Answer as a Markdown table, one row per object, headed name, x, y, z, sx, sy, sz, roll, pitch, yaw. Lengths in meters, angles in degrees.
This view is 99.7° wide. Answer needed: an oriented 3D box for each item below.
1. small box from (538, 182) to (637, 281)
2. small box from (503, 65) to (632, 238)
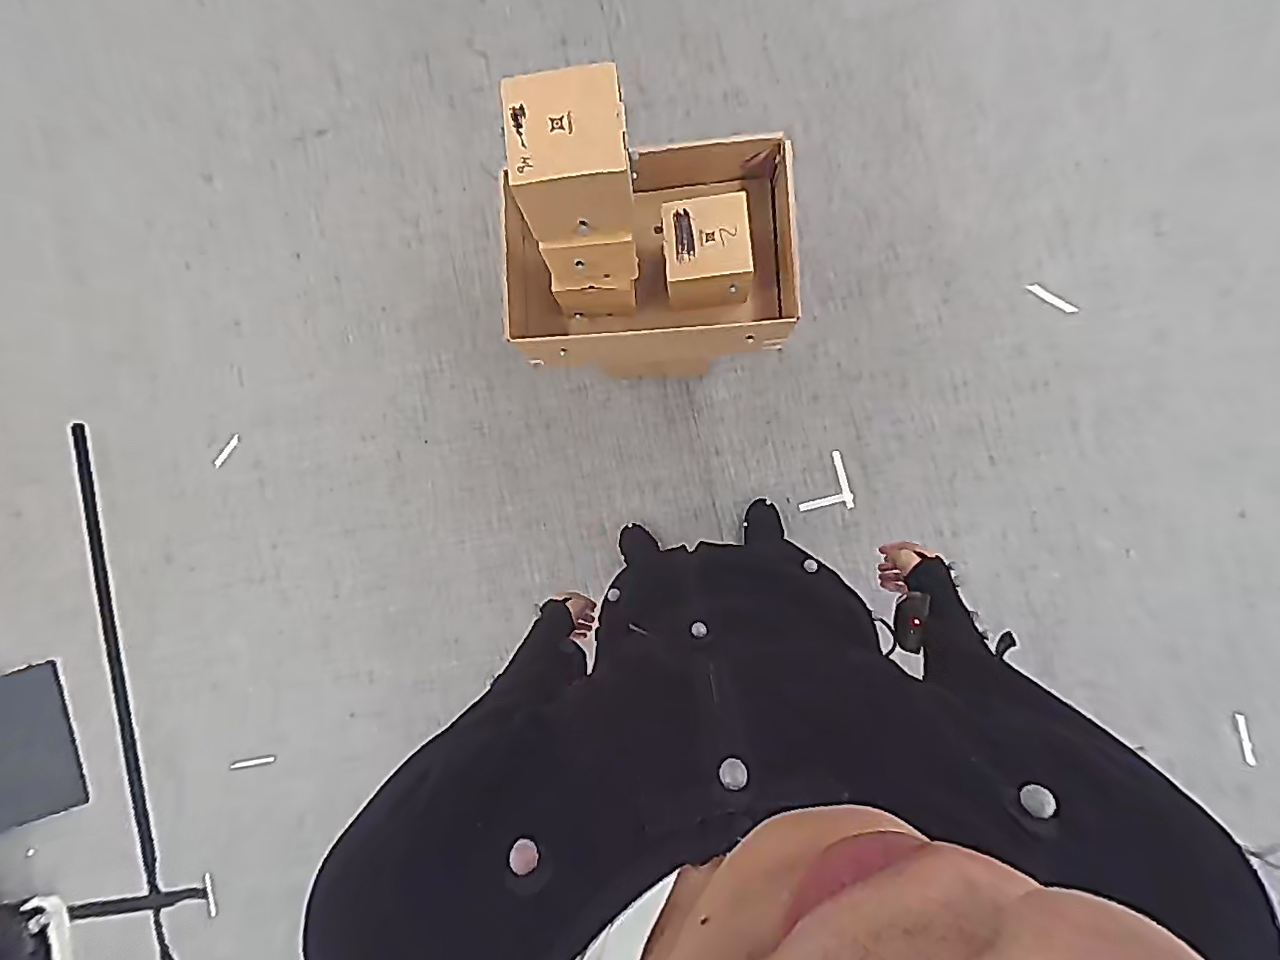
| name | x | y | z | sx | sy | sz | roll | pitch | yaw |
| --- | --- | --- | --- | --- | --- | --- | --- | --- | --- |
| small box | -0.095 | -0.490 | 1.021 | 0.168 | 0.176 | 0.179 | -4 | 87 | 3 |
| small box | -0.105 | -0.508 | 0.858 | 0.179 | 0.176 | 0.168 | -5 | 86 | 3 |
